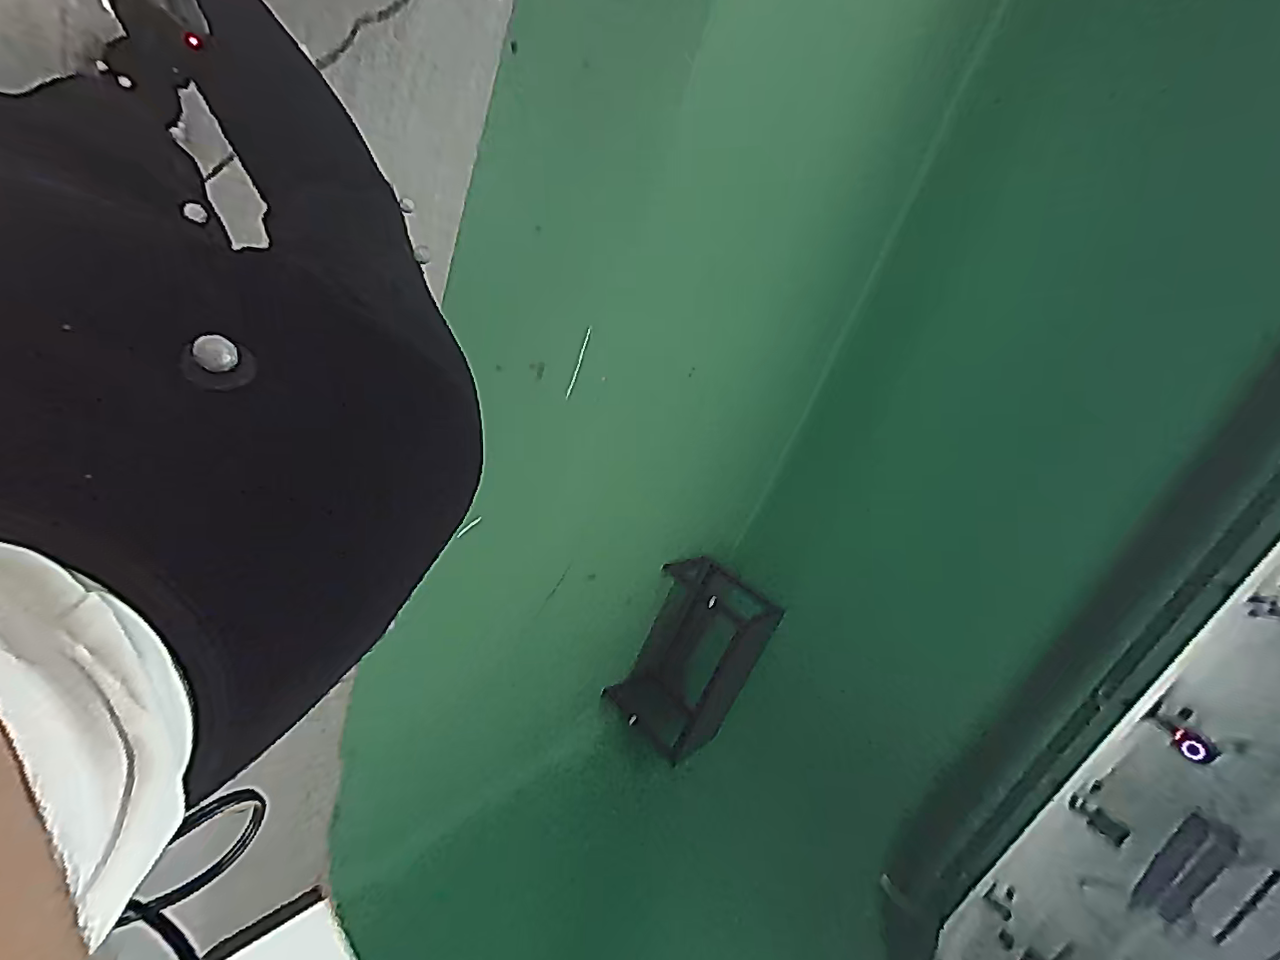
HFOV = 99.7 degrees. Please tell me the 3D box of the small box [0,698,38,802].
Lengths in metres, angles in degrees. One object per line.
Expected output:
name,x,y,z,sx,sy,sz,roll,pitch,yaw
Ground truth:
small box,-1.578,0.661,1.286,0.179,0.176,0.168,-9,125,-49
